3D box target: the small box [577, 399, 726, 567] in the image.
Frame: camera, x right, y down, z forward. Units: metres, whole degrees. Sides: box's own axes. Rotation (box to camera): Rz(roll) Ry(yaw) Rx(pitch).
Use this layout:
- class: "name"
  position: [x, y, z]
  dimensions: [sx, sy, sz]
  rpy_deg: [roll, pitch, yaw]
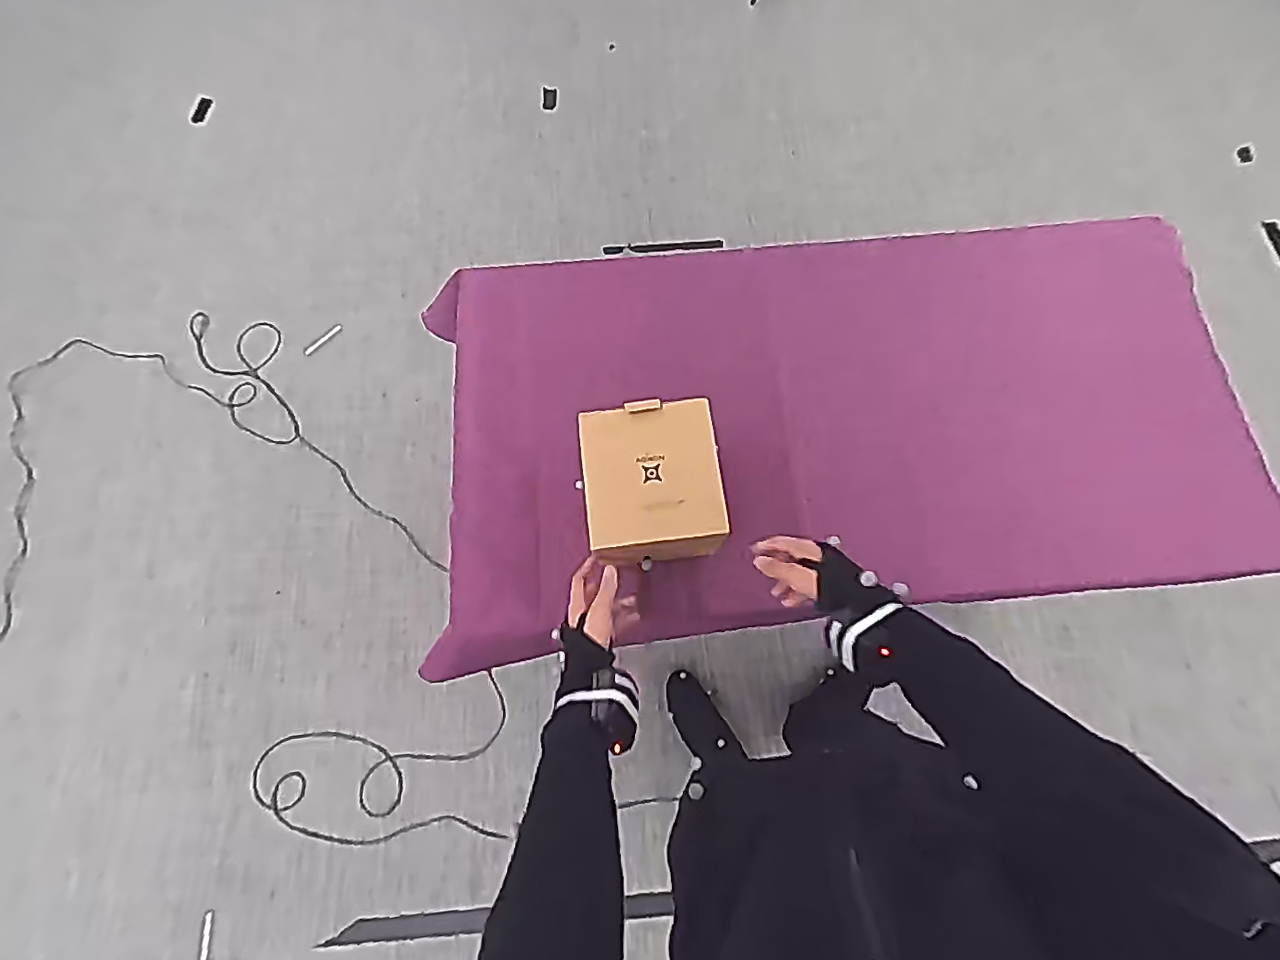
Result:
- class: "small box"
  position: [0.011, 0.011, 0.718]
  dimensions: [0.168, 0.176, 0.179]
  rpy_deg: [-6, 74, -1]
